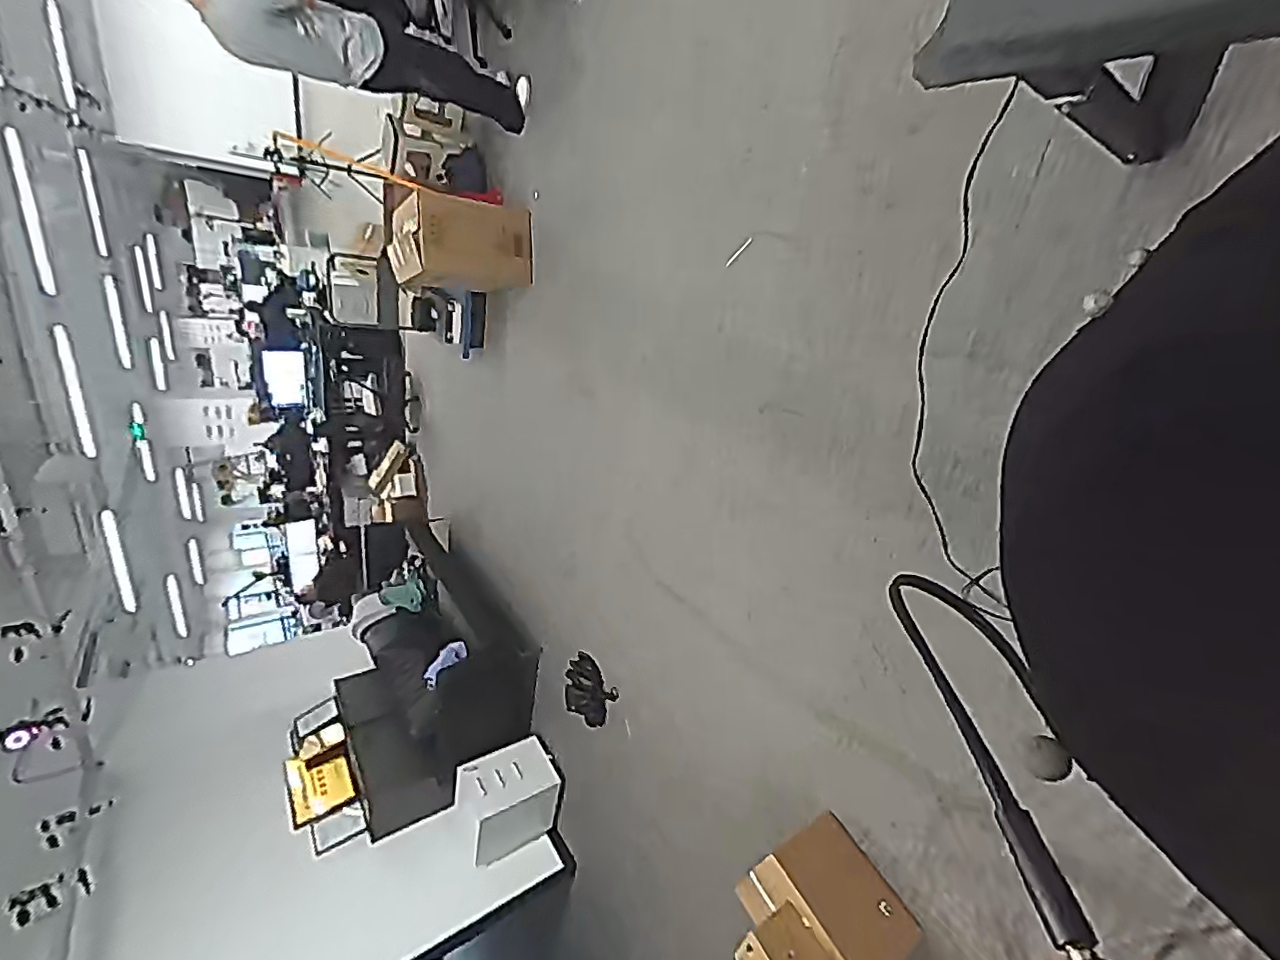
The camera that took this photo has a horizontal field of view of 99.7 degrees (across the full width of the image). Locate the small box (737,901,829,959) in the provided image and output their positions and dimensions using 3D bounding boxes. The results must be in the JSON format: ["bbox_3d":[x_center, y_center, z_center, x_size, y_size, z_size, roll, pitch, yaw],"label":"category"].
[{"bbox_3d":[0.428,1.417,1.607,0.179,0.176,0.168,42,127,41],"label":"small box"}]
